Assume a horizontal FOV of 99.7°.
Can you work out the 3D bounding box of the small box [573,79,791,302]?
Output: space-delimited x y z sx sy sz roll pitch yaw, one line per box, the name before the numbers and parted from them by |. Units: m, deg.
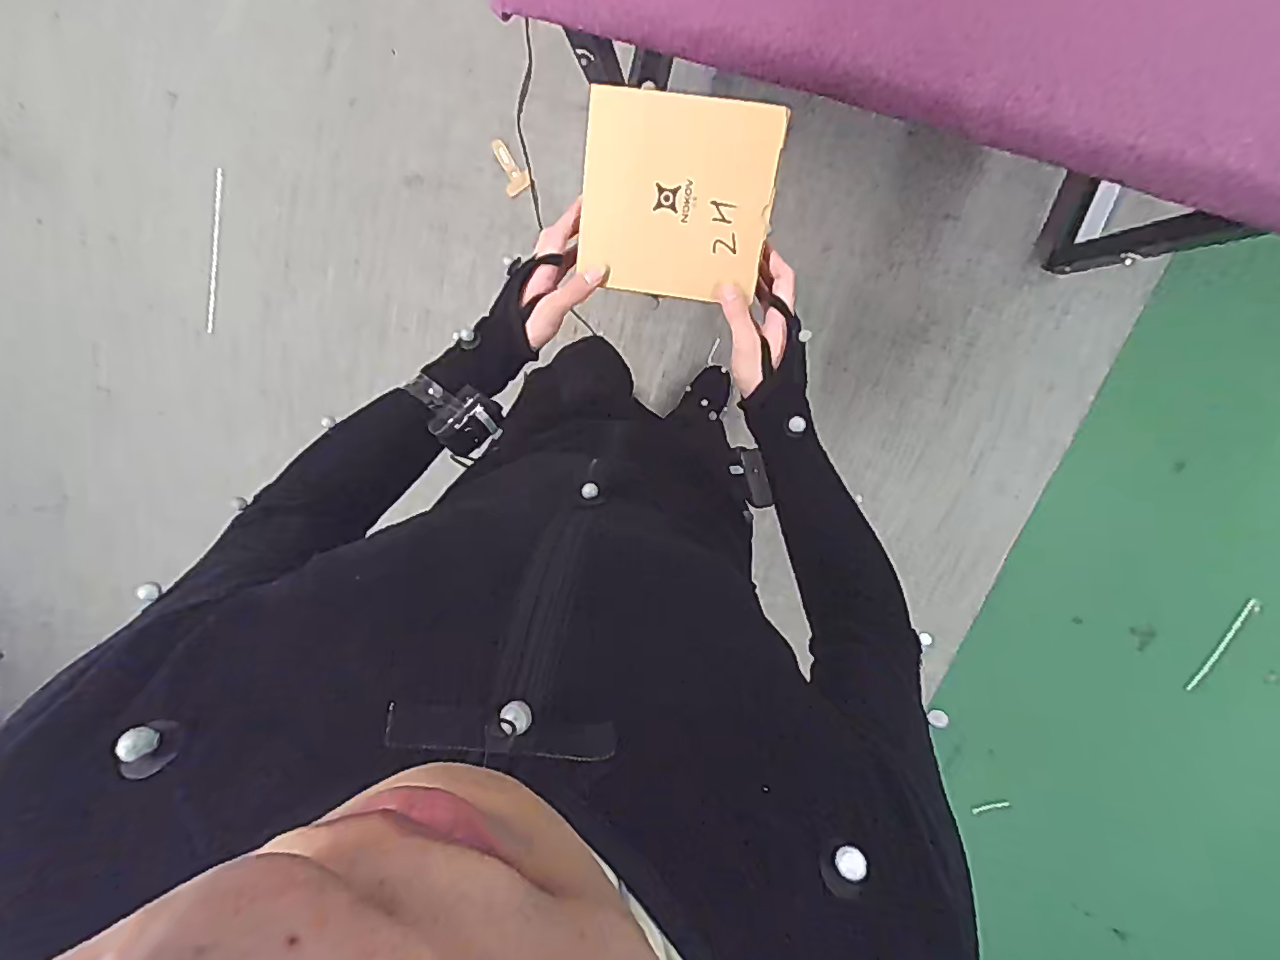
small box | 0.040 -0.283 0.562 0.179 0.176 0.168 9 111 3
